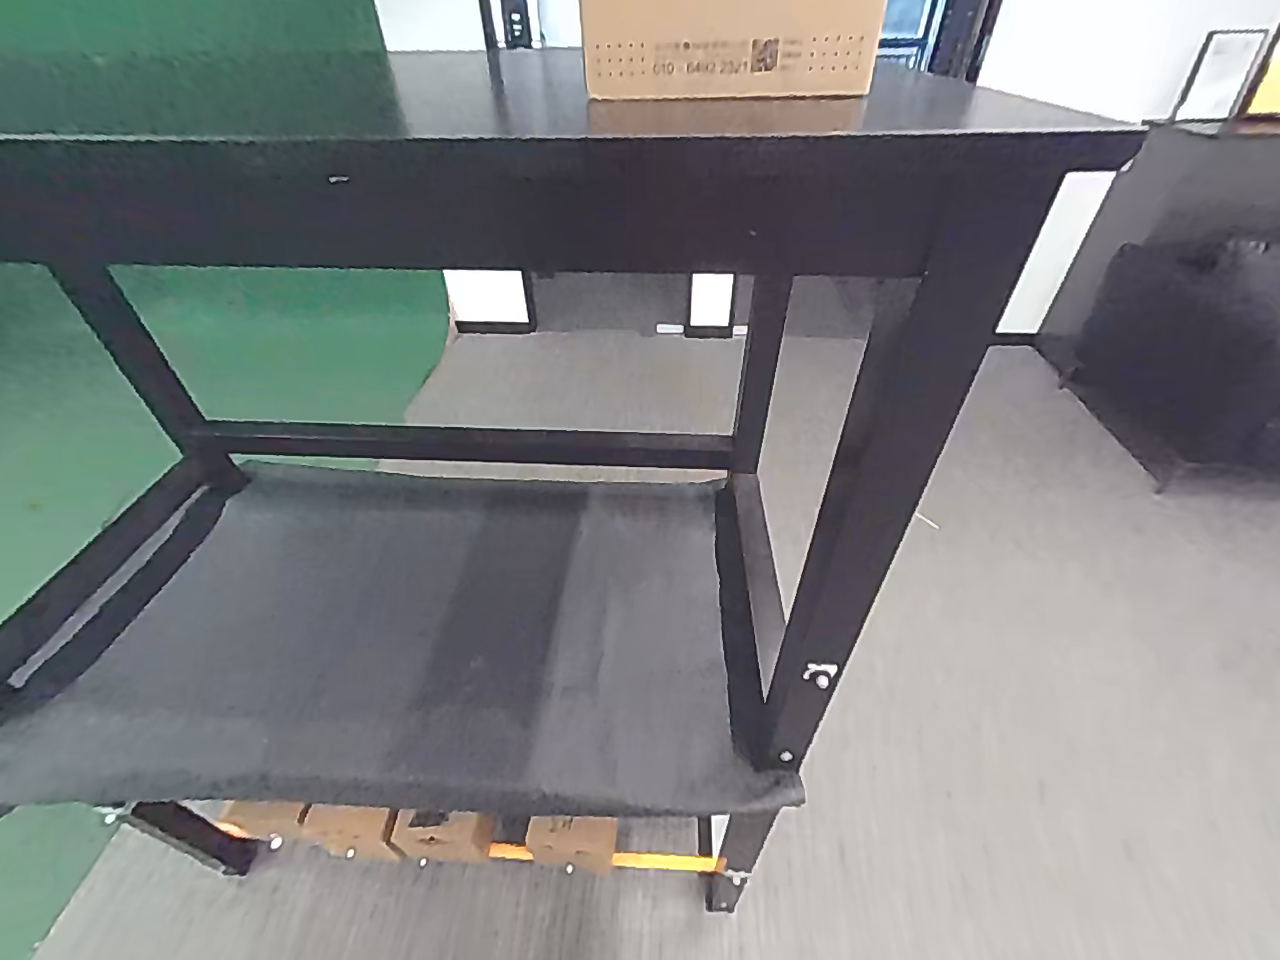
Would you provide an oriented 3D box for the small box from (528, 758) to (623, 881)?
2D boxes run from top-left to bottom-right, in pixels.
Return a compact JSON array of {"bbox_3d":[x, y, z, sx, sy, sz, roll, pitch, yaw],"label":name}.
[{"bbox_3d":[-0.131,0.739,1.179,0.168,0.176,0.179,4,43,7],"label":"small box"}]
